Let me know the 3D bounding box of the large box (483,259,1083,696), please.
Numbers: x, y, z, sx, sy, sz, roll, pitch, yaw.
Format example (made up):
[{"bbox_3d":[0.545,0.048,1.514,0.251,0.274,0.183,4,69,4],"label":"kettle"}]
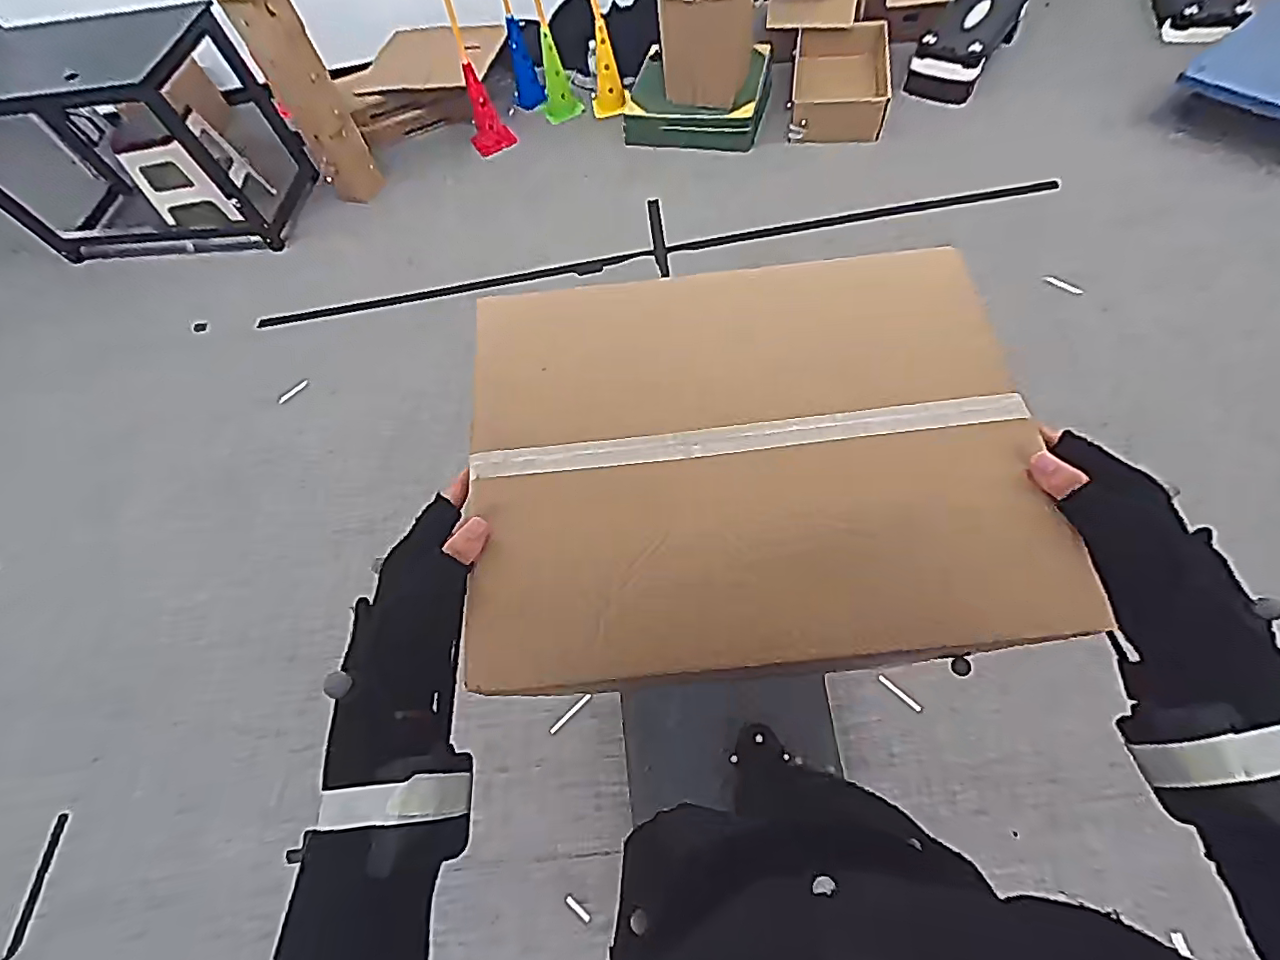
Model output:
[{"bbox_3d":[0.088,0.030,0.545,0.408,0.320,0.320,-7,67,1],"label":"large box"}]
